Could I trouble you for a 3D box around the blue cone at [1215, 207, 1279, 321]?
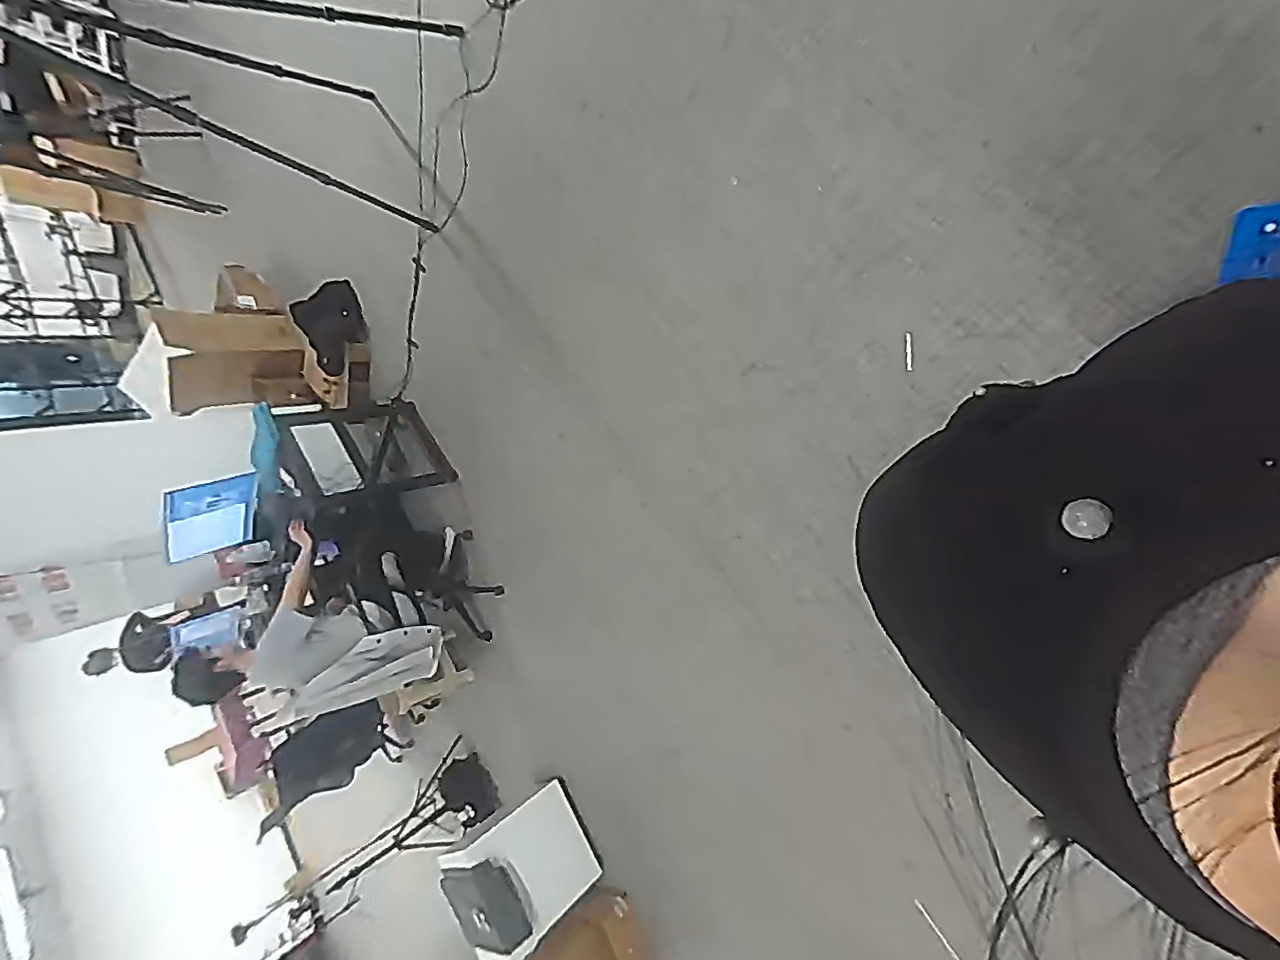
[{"bbox_3d":[1.030,-0.340,0.816,0.193,0.380,0.192,10,110,41],"label":"blue cone"}]
